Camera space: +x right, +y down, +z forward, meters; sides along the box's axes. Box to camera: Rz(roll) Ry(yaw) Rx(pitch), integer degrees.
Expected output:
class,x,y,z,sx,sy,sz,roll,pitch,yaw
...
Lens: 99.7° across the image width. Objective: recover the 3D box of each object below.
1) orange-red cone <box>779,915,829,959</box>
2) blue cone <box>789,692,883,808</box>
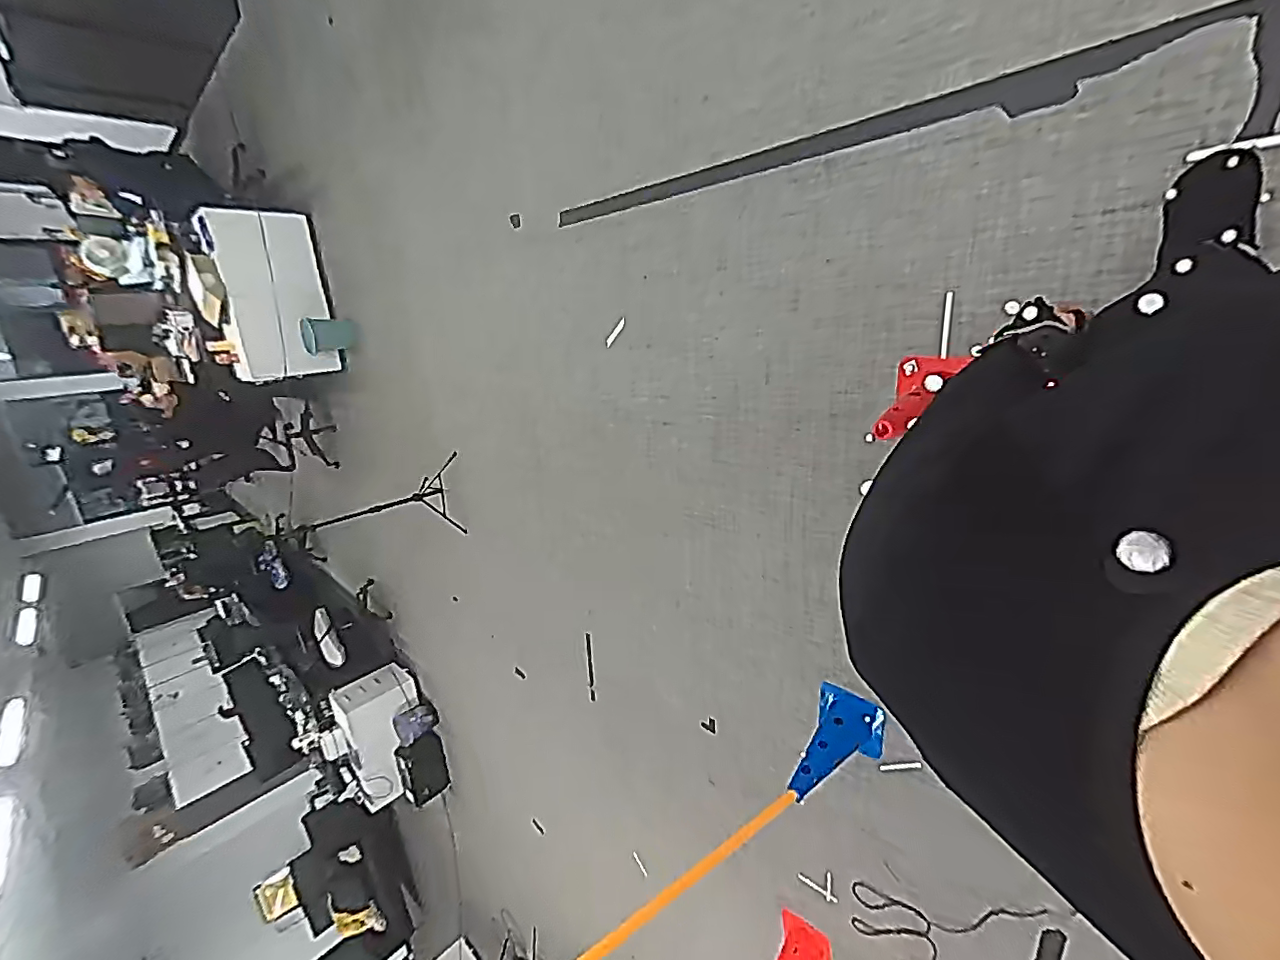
class,x,y,z,sx,sy,sz,roll,pitch,yaw
orange-red cone,0.521,1.841,1.959,0.199,0.360,0.198,5,109,43
blue cone,0.541,0.803,1.564,0.193,0.380,0.192,16,117,42
